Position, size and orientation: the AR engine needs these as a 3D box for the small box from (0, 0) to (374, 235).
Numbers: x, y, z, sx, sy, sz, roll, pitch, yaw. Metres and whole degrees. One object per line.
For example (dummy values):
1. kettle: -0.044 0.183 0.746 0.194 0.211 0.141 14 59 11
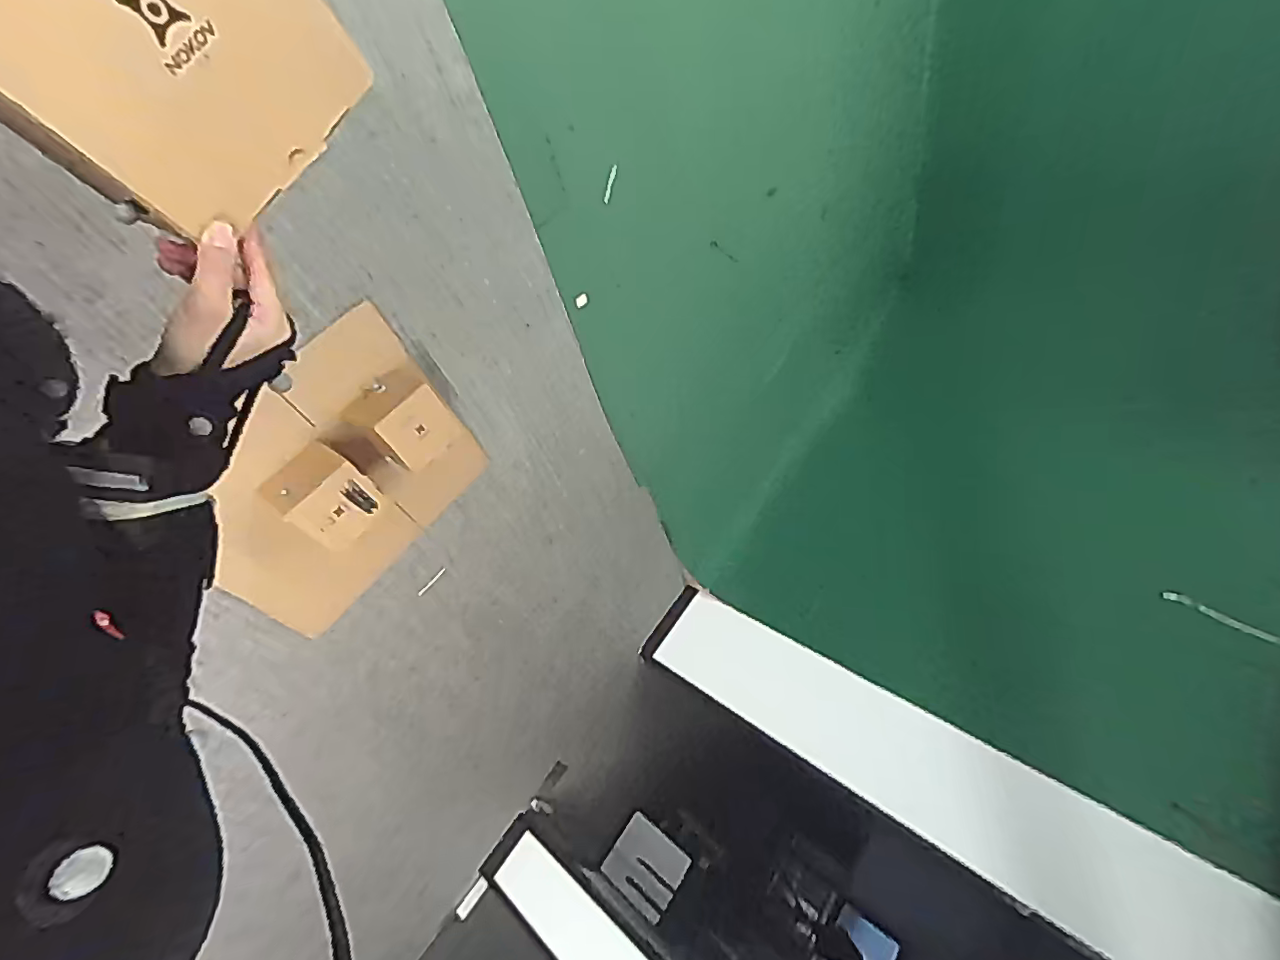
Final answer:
1. small box: -0.311 -0.280 0.314 0.168 0.176 0.179 -58 153 -9

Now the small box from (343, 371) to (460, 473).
1. small box: -0.600 -0.151 1.367 0.168 0.176 0.179 -51 141 -23
